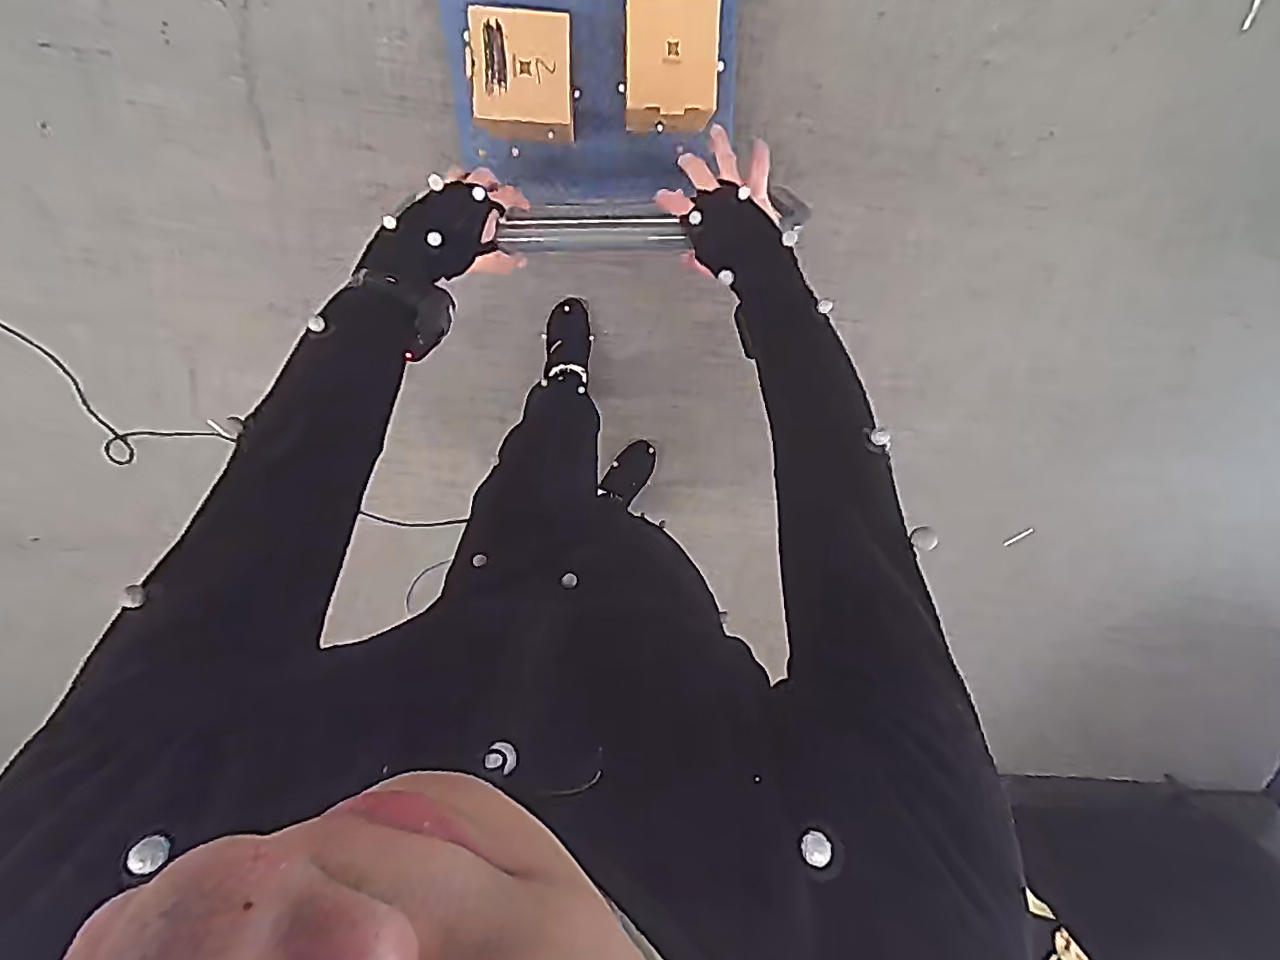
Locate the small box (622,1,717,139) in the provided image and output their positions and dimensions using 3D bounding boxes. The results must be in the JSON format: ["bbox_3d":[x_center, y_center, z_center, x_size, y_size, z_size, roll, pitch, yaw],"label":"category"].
[{"bbox_3d":[0.050,-0.790,1.058,0.168,0.176,0.179,-2,111,-3],"label":"small box"}]
